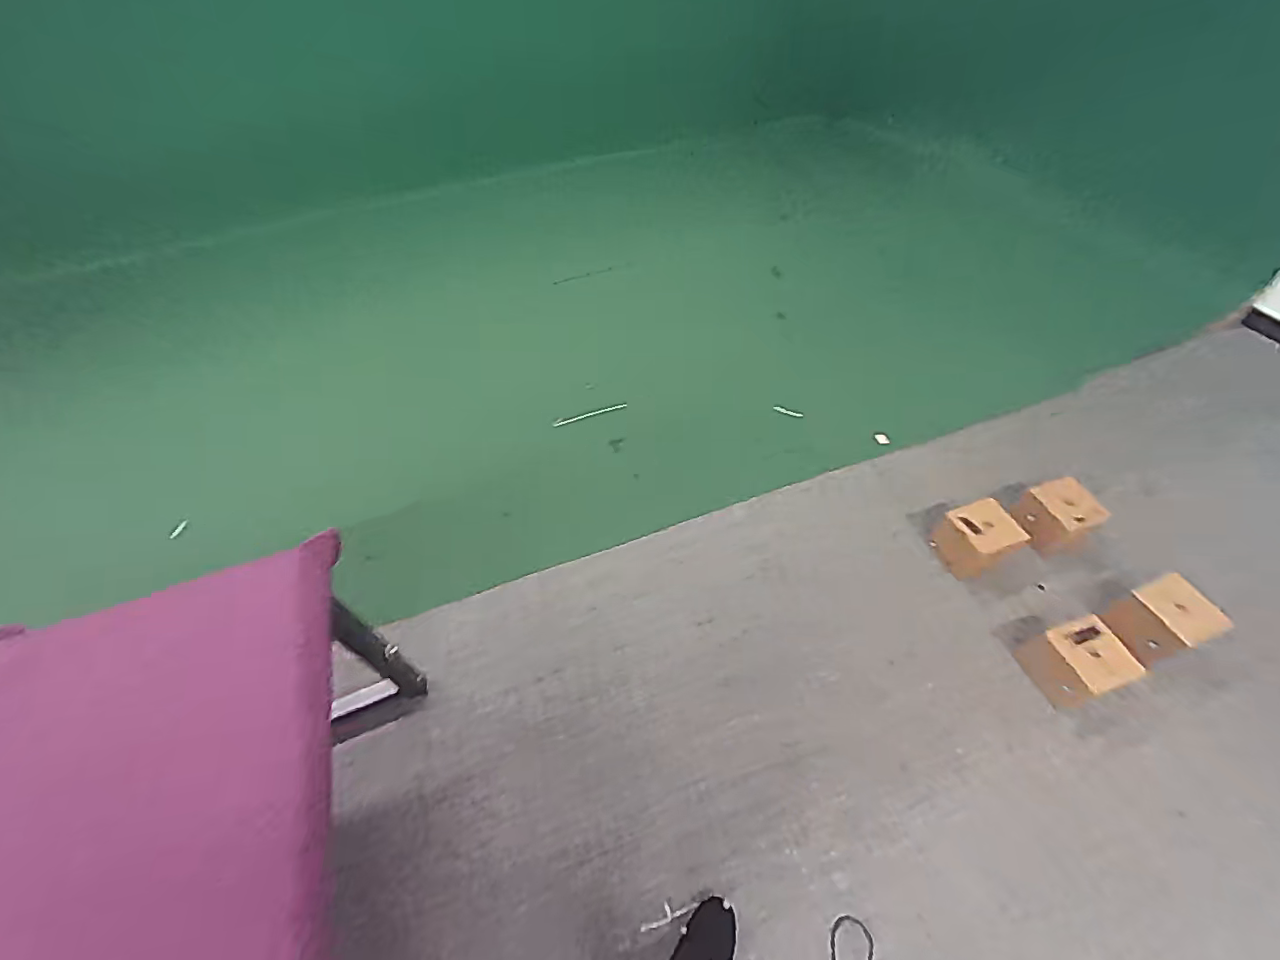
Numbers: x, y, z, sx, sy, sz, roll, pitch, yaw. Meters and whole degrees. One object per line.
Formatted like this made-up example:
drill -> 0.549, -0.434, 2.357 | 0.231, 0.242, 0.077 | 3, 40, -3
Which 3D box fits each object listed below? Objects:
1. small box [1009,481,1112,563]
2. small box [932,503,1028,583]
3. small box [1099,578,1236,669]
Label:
small box -> 1.341, 0.137, 1.745 | 0.168, 0.176, 0.179 | -15, 51, -8
small box -> 1.061, 0.203, 1.710 | 0.179, 0.176, 0.168 | -16, 52, -10
small box -> 1.464, 0.410, 1.515 | 0.168, 0.176, 0.179 | -17, 52, -11
